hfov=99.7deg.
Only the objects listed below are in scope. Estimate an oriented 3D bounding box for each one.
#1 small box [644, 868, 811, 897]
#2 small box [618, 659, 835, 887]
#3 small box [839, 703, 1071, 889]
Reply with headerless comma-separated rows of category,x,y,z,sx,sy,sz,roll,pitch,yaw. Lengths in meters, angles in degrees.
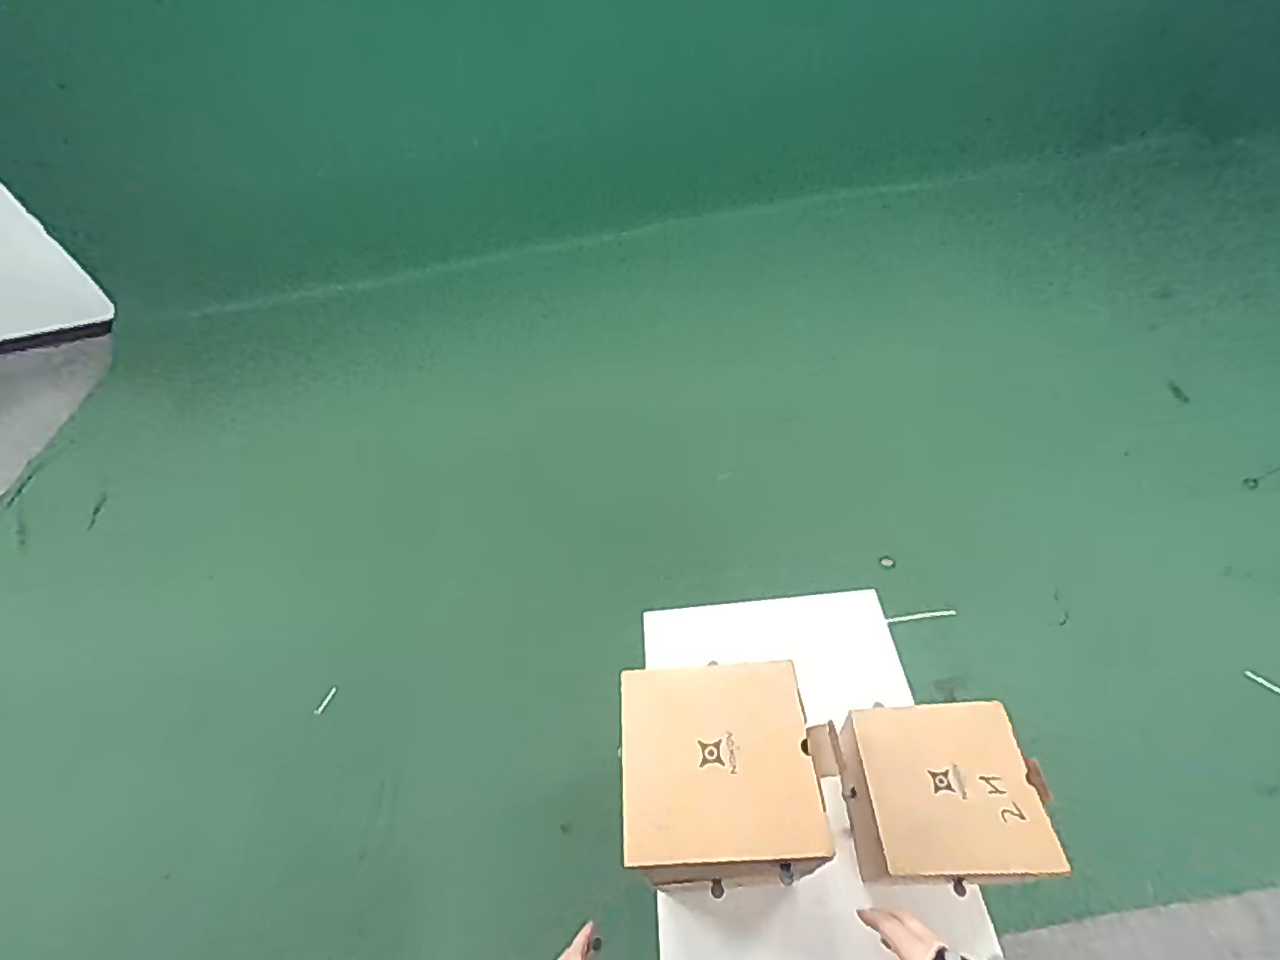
small box,0.097,0.403,0.667,0.179,0.176,0.168,-7,50,3
small box,0.077,0.298,0.543,0.179,0.176,0.168,-6,50,3
small box,0.345,0.378,0.641,0.179,0.176,0.168,-5,51,6
